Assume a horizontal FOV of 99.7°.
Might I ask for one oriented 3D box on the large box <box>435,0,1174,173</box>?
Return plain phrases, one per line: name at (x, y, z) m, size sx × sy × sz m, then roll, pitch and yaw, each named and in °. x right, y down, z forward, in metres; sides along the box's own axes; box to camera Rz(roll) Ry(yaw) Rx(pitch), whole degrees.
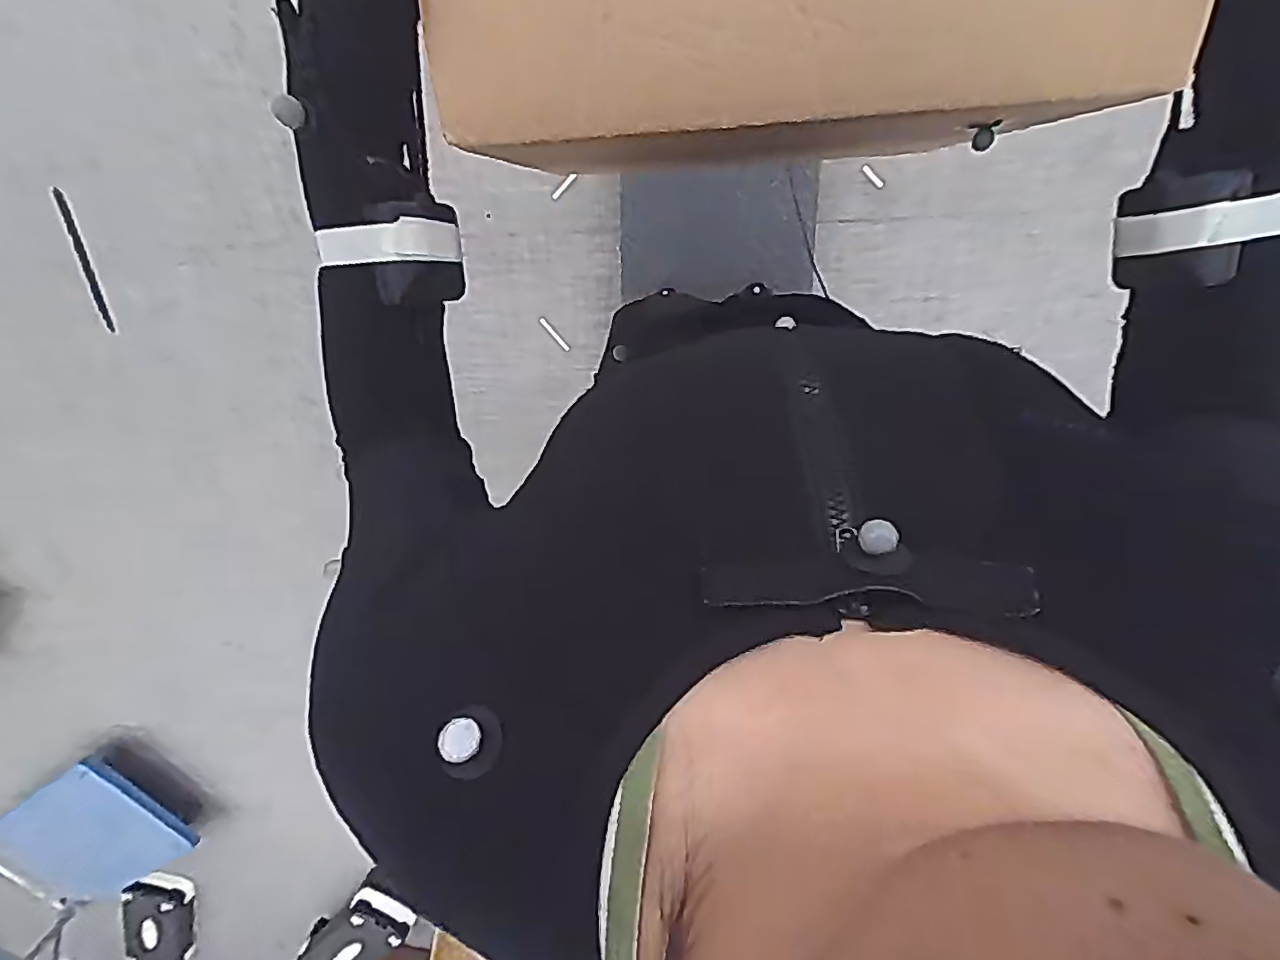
large box at (0.087, -0.413, 0.382) m, size 0.408 × 0.320 × 0.320 m, roll -1°, pitch 116°, yaw 5°
